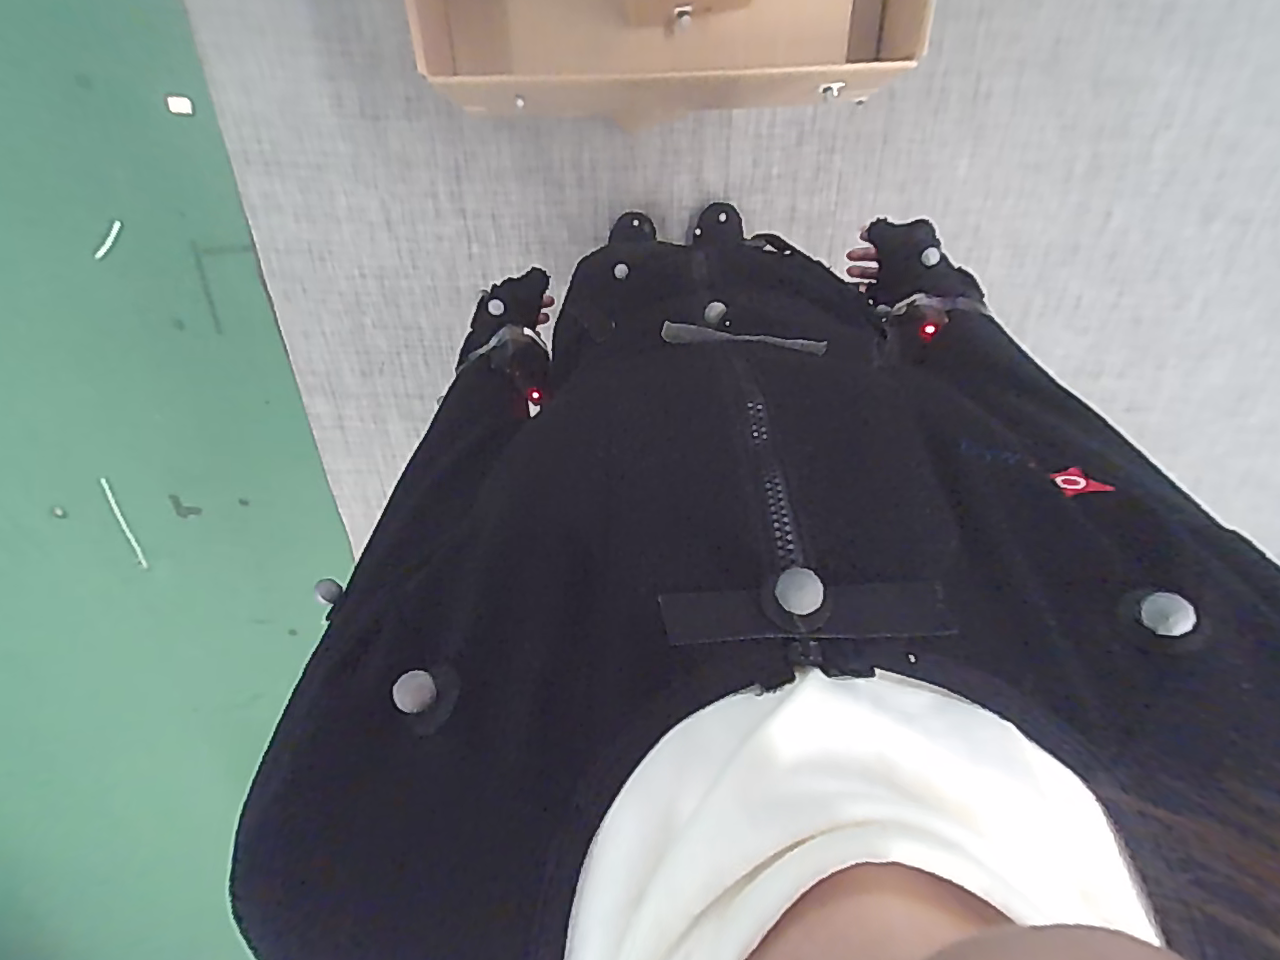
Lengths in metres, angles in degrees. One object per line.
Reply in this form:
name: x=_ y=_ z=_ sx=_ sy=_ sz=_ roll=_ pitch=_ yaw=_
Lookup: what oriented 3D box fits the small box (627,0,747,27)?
small box: x=0.053 y=-0.677 z=0.634 sx=0.168 sy=0.176 sz=0.179 roll=-6 pitch=117 yaw=6
